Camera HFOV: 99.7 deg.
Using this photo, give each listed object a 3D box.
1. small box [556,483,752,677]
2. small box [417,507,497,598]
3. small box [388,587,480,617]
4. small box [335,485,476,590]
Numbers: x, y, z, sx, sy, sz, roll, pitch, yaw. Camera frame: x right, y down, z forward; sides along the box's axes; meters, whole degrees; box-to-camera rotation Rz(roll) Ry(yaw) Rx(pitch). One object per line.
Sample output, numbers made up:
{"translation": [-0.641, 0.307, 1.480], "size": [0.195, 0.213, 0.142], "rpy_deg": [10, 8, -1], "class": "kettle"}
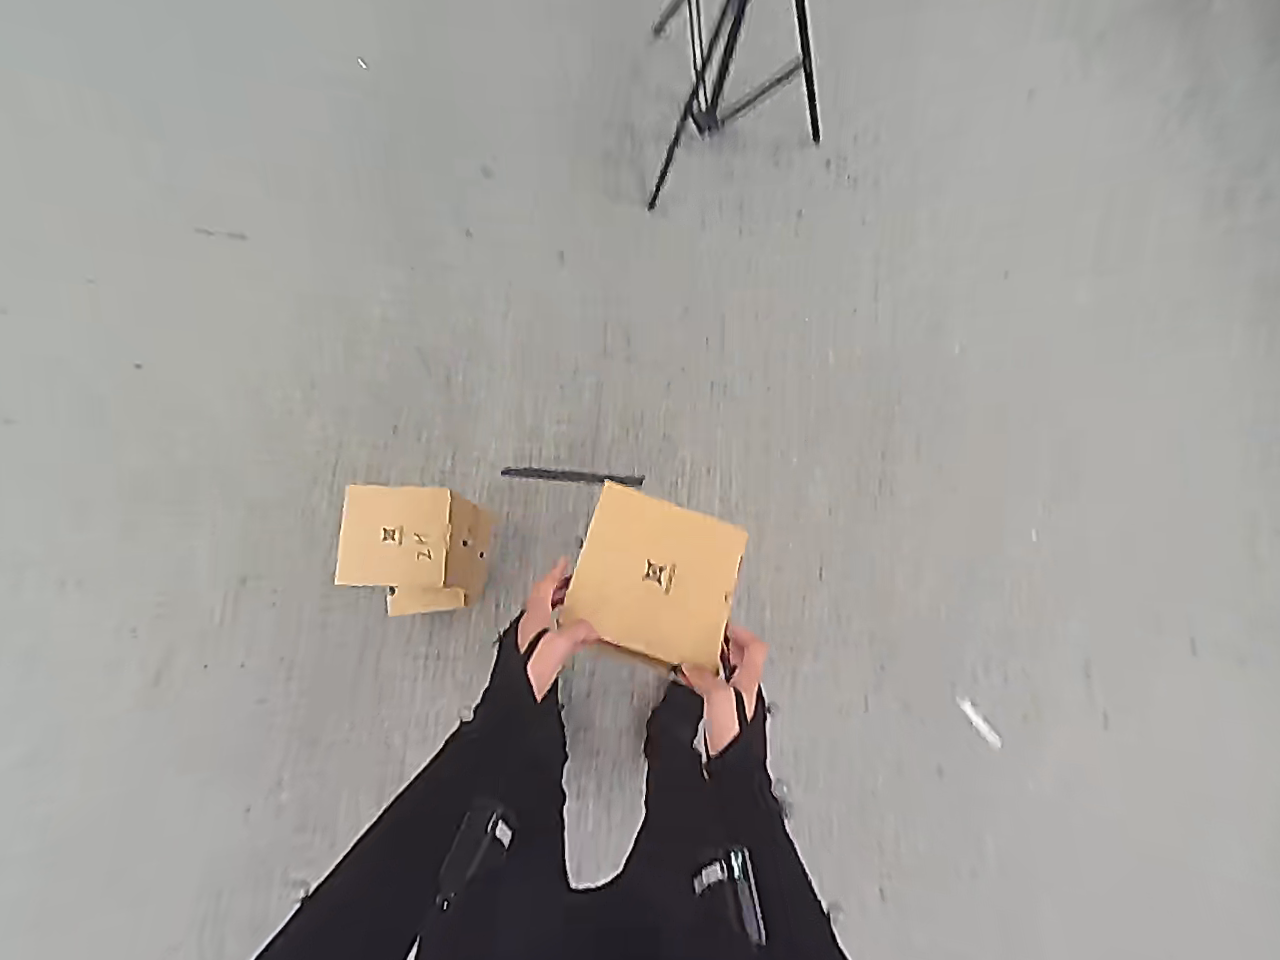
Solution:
{"translation": [0.007, 0.128, 0.641], "size": [0.179, 0.176, 0.168], "rpy_deg": [19, 68, -4], "class": "small box"}
{"translation": [-0.403, 0.142, 1.120], "size": [0.168, 0.176, 0.179], "rpy_deg": [10, 79, -2], "class": "small box"}
{"translation": [-0.476, 0.222, 1.265], "size": [0.168, 0.176, 0.179], "rpy_deg": [-5, 80, -6], "class": "small box"}
{"translation": [-0.403, 0.108, 0.959], "size": [0.179, 0.176, 0.168], "rpy_deg": [2, 79, -5], "class": "small box"}
